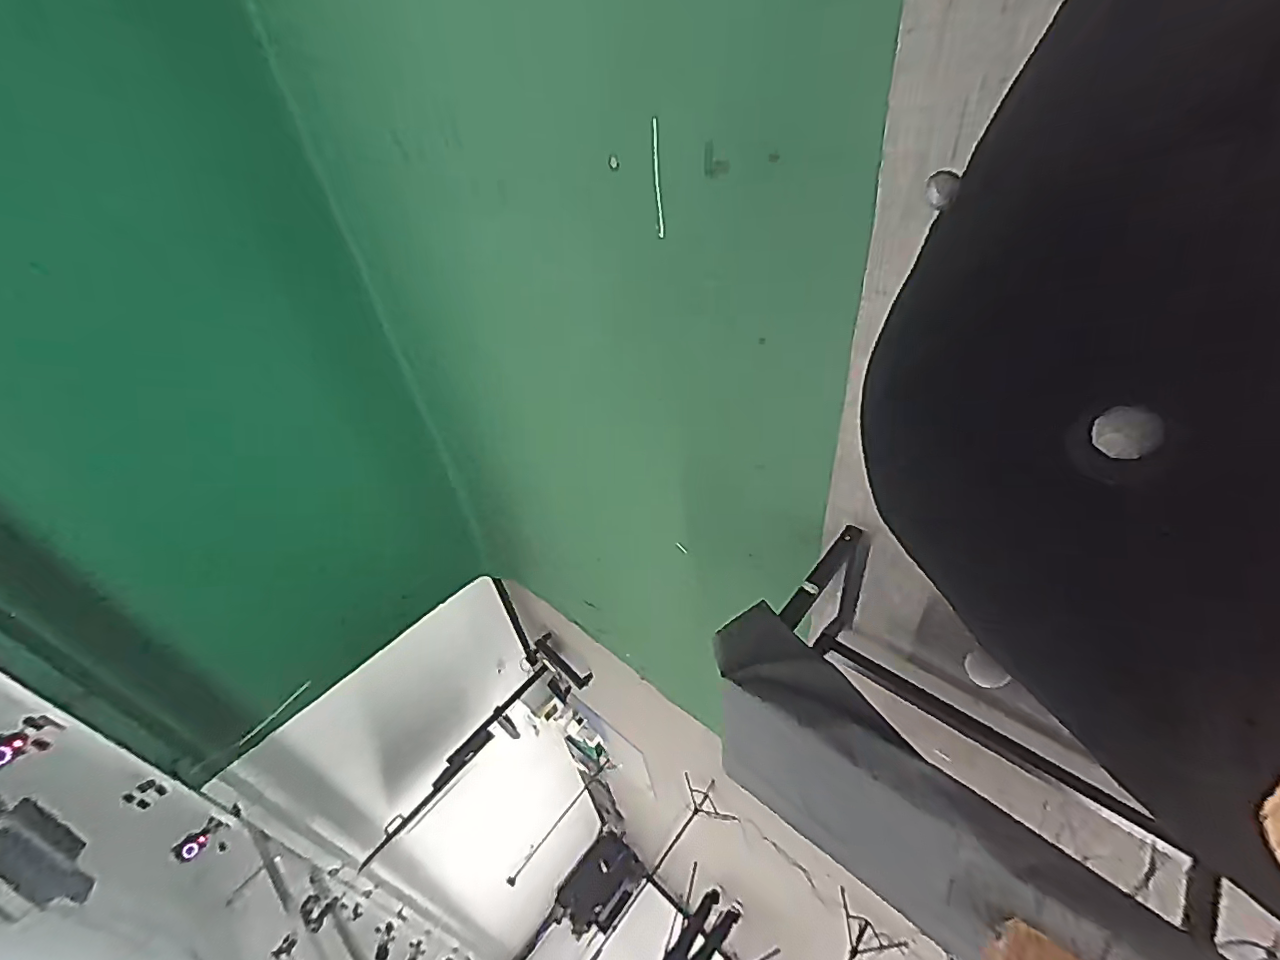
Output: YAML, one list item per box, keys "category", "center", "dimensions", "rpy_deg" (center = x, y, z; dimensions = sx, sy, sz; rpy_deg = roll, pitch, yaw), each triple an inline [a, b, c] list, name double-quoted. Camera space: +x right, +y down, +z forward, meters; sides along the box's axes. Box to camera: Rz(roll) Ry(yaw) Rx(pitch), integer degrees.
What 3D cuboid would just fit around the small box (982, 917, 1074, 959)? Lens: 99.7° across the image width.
- category: "small box"
  center: [0.803, 1.038, 1.084]
  dimensions: [0.179, 0.176, 0.168]
  rpy_deg: [29, 141, 33]
